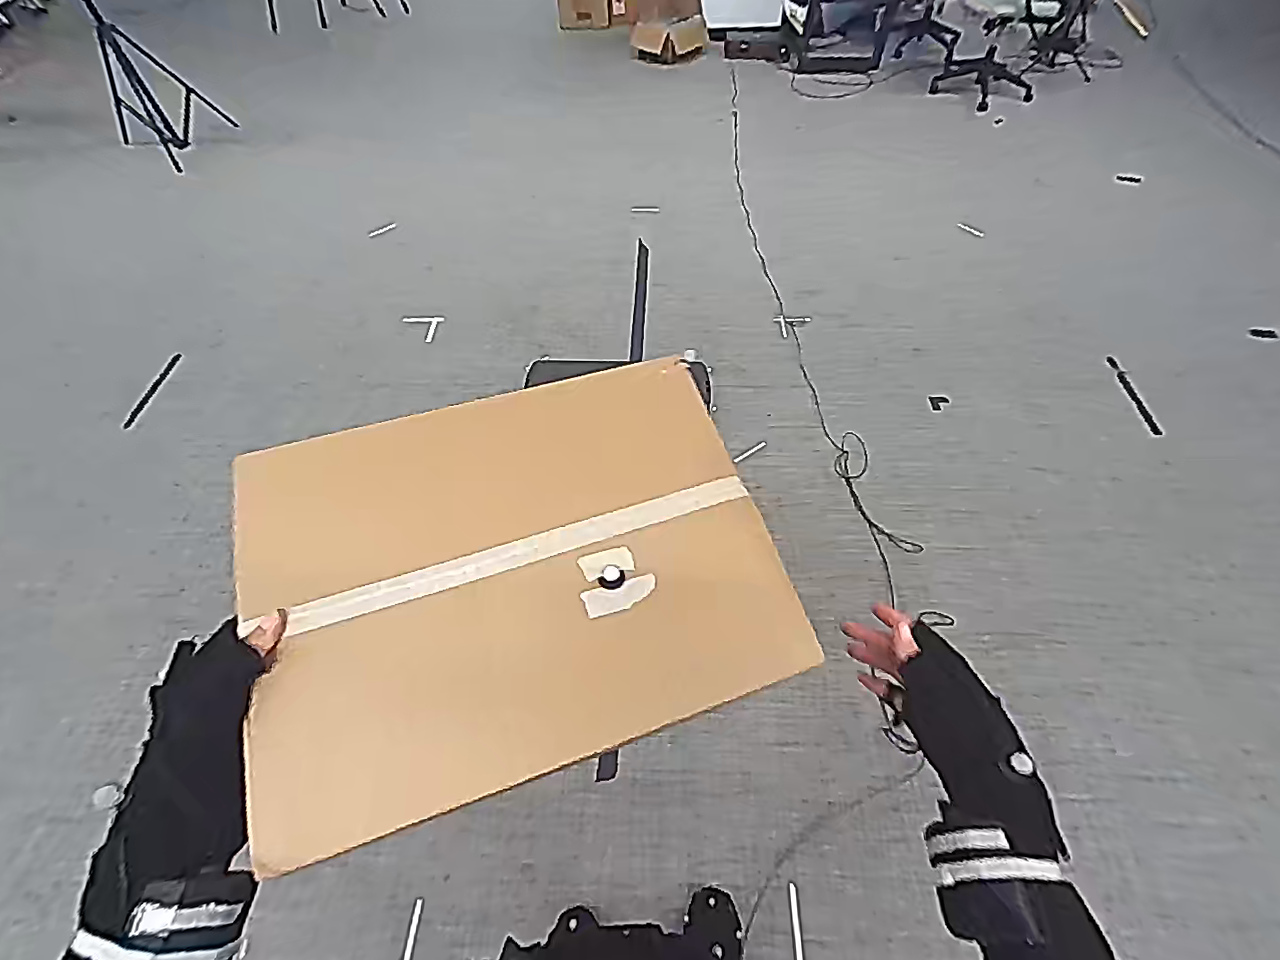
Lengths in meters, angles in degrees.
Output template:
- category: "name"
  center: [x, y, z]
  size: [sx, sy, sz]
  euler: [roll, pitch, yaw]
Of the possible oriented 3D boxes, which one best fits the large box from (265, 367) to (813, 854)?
- category: "large box"
  center: [-0.105, 0.133, 0.582]
  size: [0.408, 0.320, 0.320]
  euler: [-15, 65, -12]
